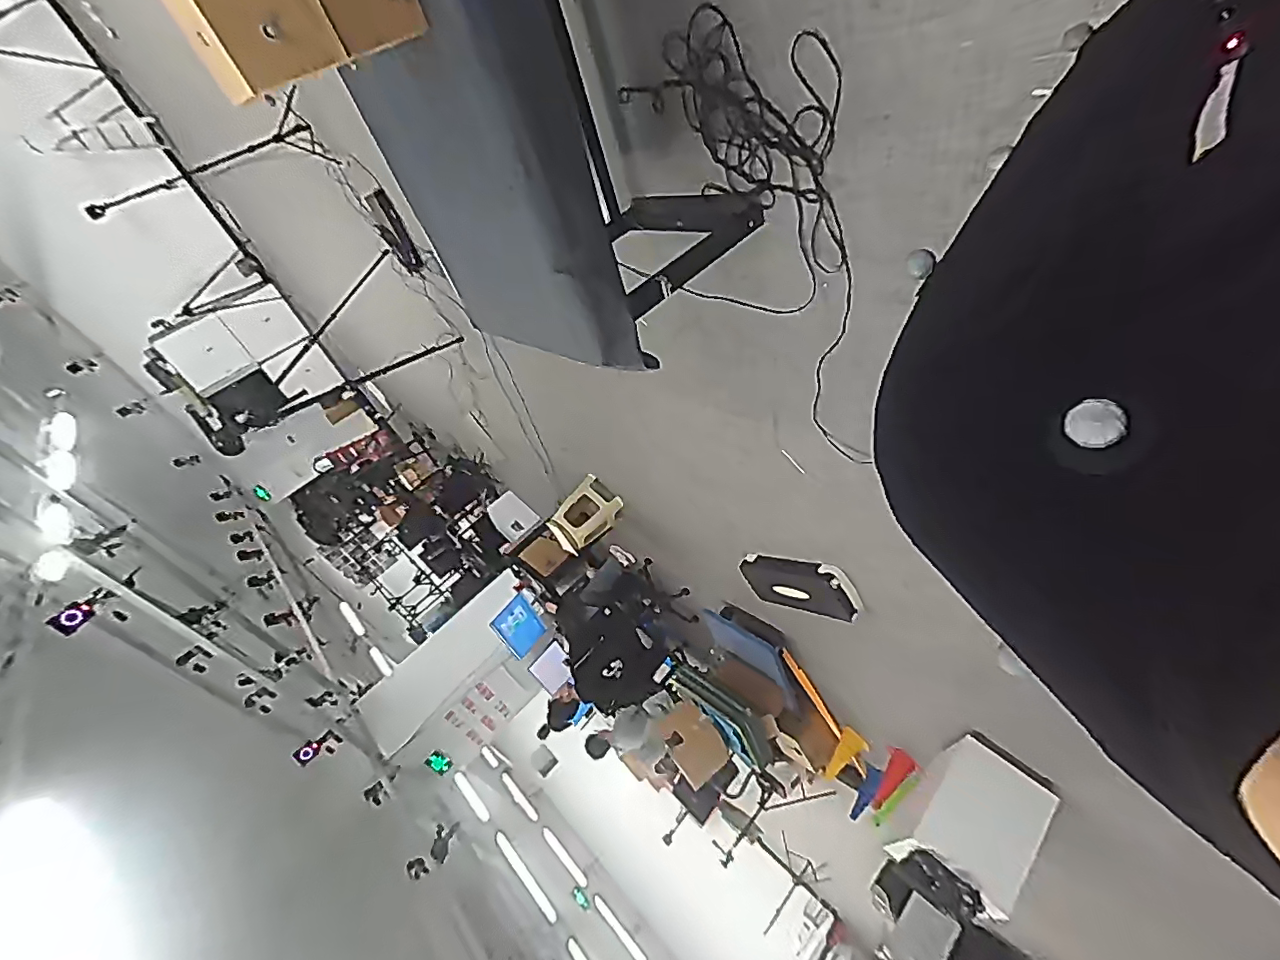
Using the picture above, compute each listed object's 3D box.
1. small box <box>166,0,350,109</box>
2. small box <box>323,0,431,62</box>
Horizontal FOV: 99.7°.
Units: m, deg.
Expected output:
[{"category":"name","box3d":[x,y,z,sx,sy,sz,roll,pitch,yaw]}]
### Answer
[{"category":"small box","box3d":[-0.591,-0.712,0.843,0.179,0.176,0.168,28,152,42]},{"category":"small box","box3d":[-0.487,-0.820,0.906,0.179,0.176,0.168,26,151,40]}]
